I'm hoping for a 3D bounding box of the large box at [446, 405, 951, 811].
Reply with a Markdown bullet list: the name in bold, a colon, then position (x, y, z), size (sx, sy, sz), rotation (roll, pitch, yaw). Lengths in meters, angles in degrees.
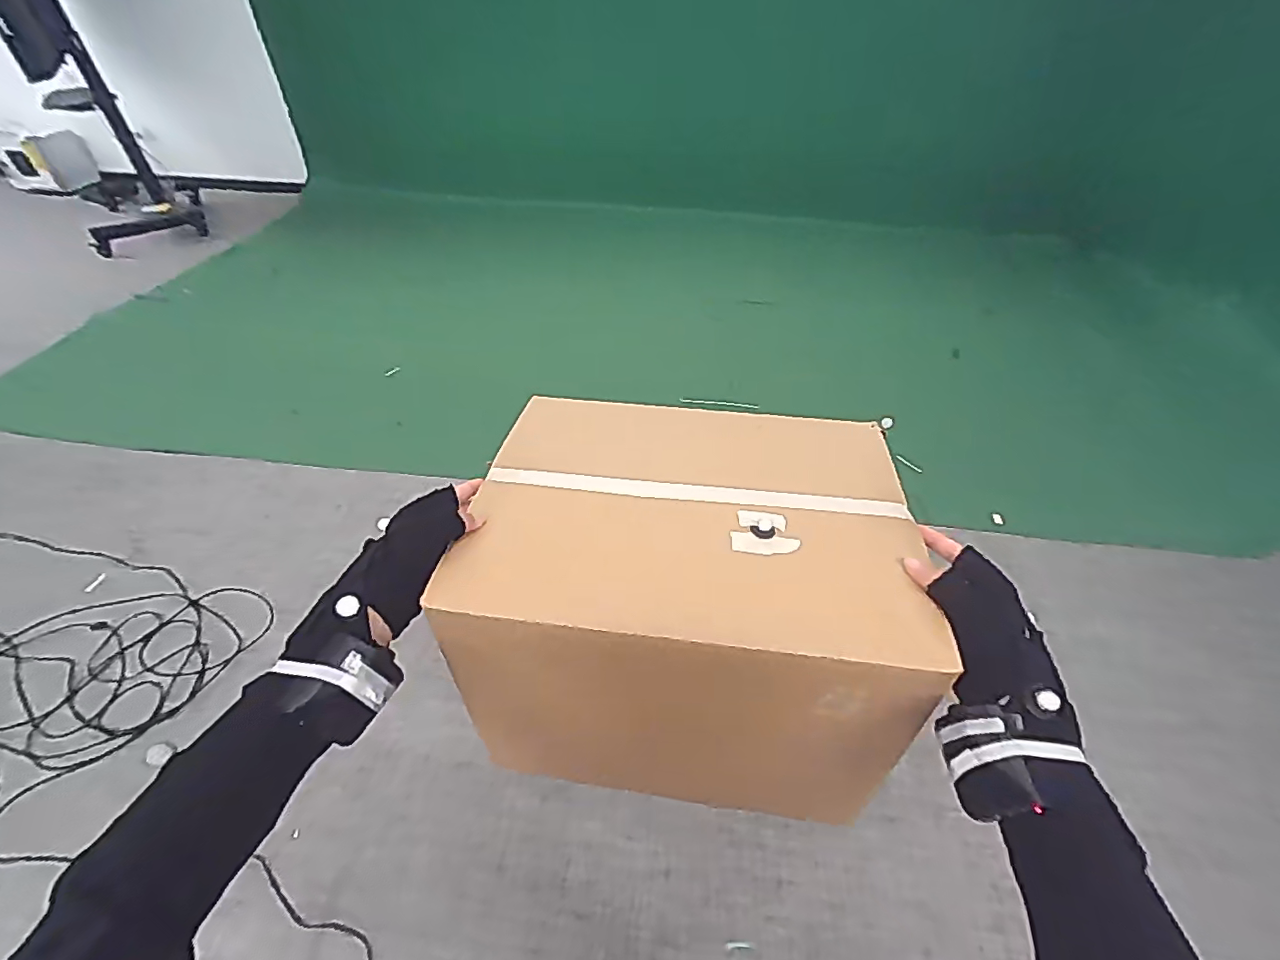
- **large box**: position (0.052, 0.136, 0.625), size (0.408, 0.320, 0.320), rotation (6, 41, 5)
